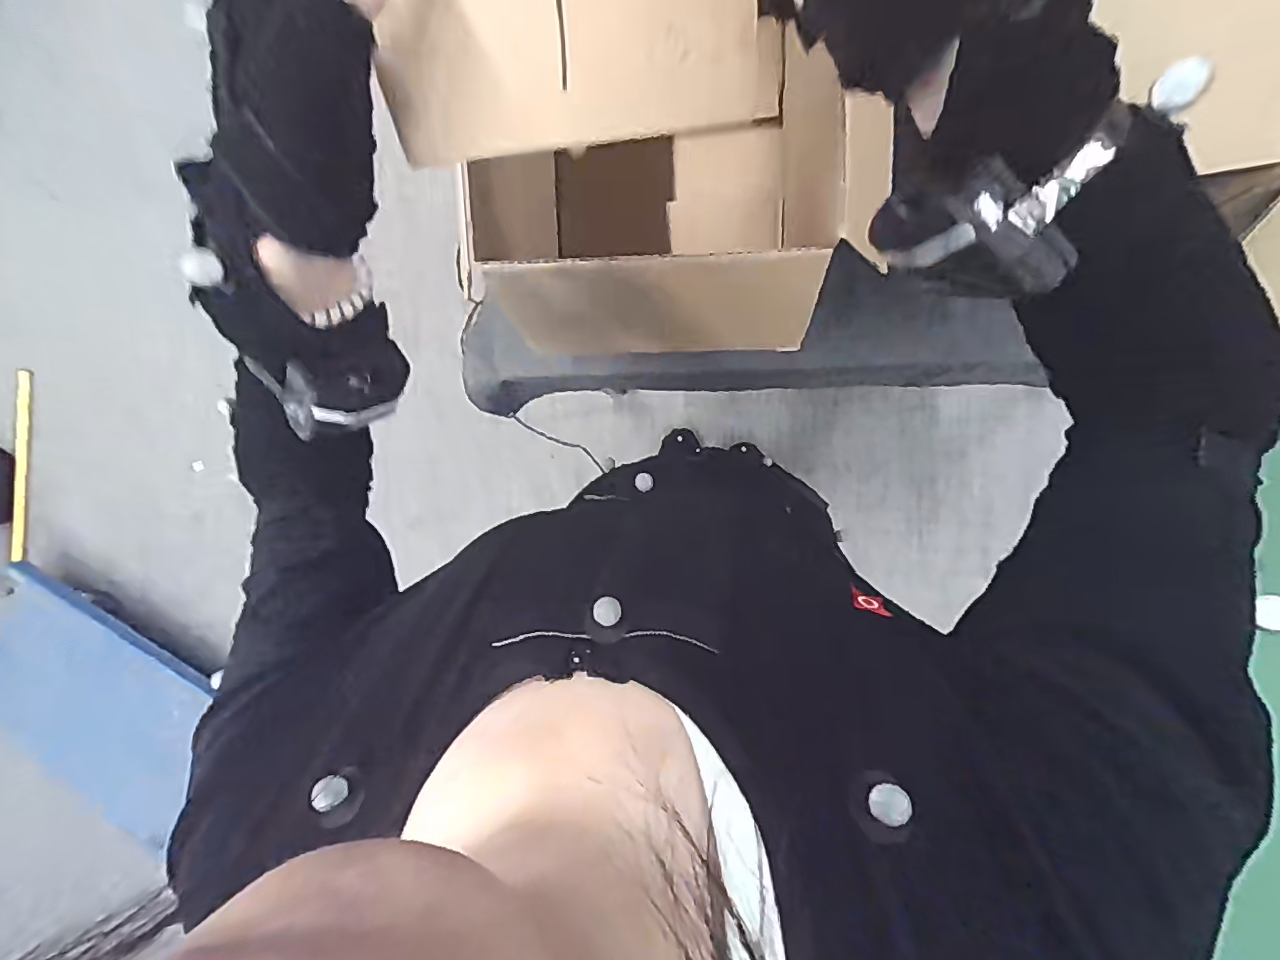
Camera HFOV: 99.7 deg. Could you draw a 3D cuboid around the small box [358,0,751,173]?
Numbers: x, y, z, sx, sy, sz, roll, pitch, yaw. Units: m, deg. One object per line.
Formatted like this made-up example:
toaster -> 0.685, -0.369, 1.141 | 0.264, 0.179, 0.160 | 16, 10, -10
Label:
small box -> -0.044, -0.271, 0.271 | 0.168, 0.176, 0.179 | -7, 128, -1
